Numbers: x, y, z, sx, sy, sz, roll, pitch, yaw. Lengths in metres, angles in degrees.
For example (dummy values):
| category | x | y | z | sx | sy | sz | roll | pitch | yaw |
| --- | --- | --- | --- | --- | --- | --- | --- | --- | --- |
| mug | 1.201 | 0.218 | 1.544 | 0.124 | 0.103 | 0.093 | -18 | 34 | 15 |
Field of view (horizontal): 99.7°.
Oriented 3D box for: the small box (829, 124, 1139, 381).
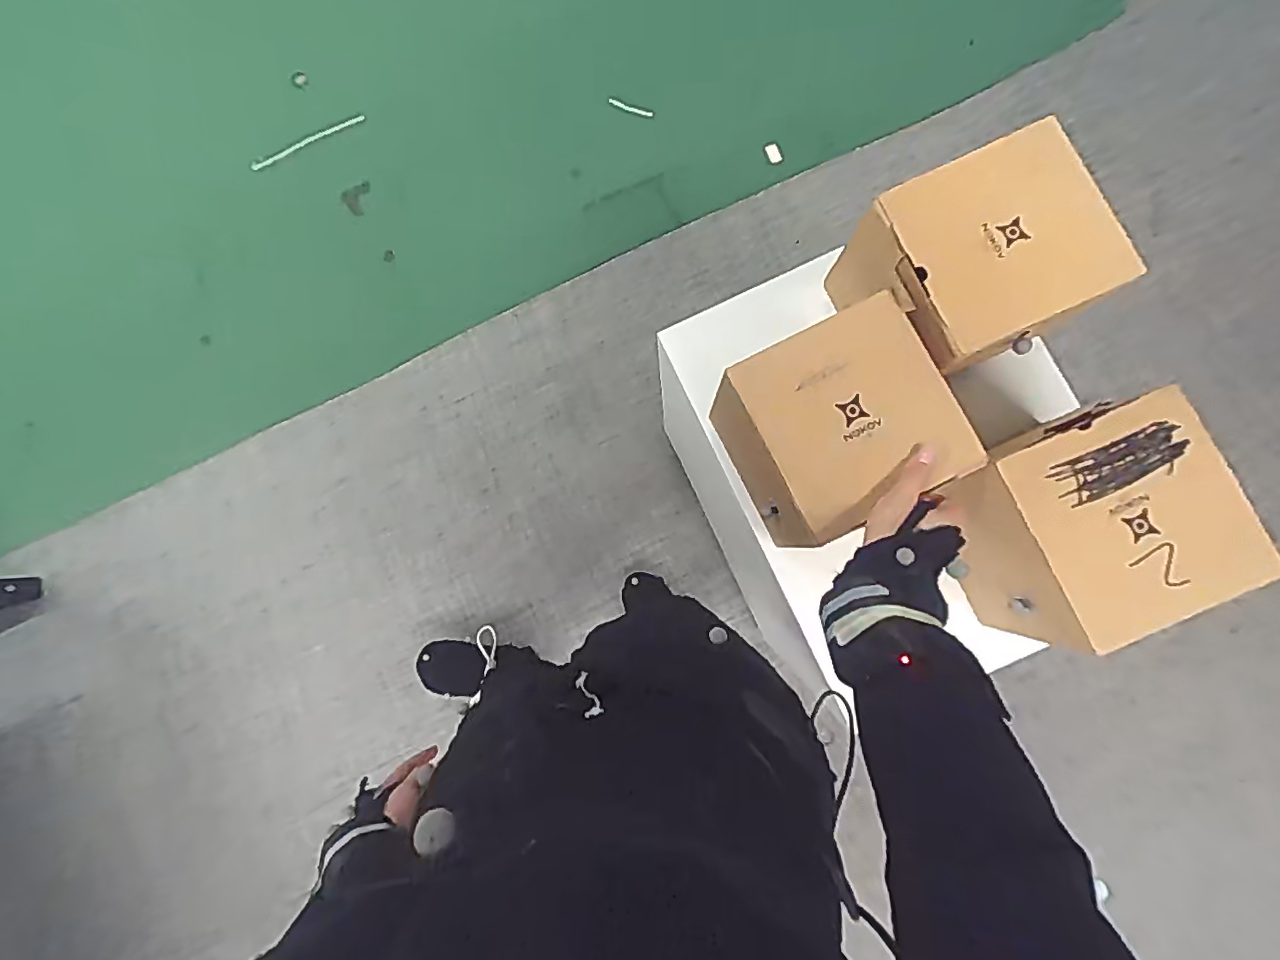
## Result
| category | x | y | z | sx | sy | sz | roll | pitch | yaw |
| --- | --- | --- | --- | --- | --- | --- | --- | --- | --- |
| small box | 0.326 | -0.204 | 0.555 | 0.179 | 0.176 | 0.168 | -25 | 83 | 1 |

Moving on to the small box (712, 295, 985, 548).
| category | x | y | z | sx | sy | sz | roll | pitch | yaw |
| --- | --- | --- | --- | --- | --- | --- | --- | --- | --- |
| small box | 0.186 | -0.044 | 0.544 | 0.168 | 0.176 | 0.179 | -27 | 81 | -2 |
